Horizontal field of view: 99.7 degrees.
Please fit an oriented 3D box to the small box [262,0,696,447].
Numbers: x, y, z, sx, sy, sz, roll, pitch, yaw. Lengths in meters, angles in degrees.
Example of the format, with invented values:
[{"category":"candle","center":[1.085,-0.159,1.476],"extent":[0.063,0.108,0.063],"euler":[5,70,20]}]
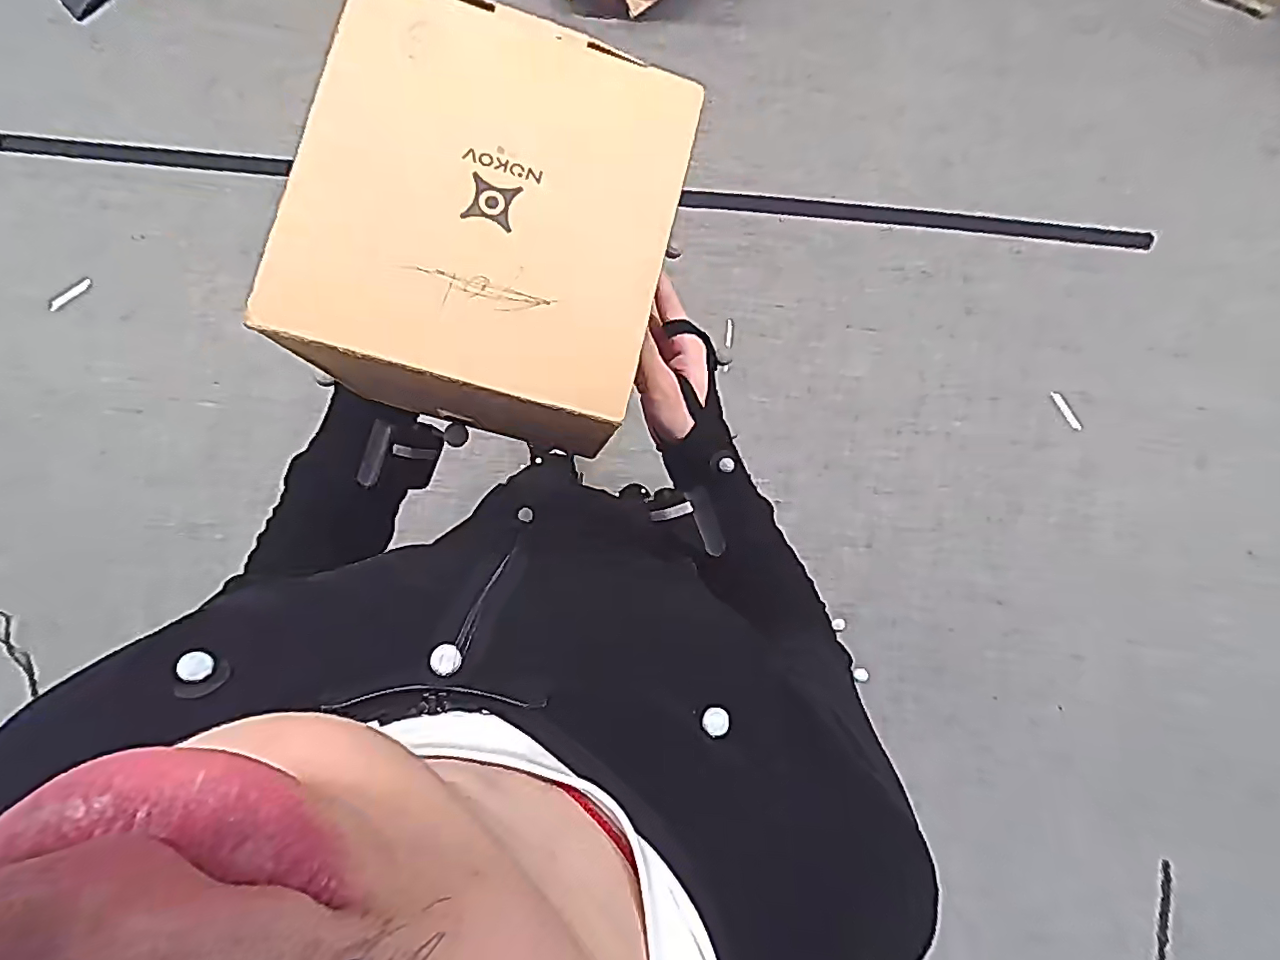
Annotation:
[{"category":"small box","center":[-0.082,-0.131,0.336],"extent":[0.168,0.176,0.179],"euler":[15,85,-8]}]
